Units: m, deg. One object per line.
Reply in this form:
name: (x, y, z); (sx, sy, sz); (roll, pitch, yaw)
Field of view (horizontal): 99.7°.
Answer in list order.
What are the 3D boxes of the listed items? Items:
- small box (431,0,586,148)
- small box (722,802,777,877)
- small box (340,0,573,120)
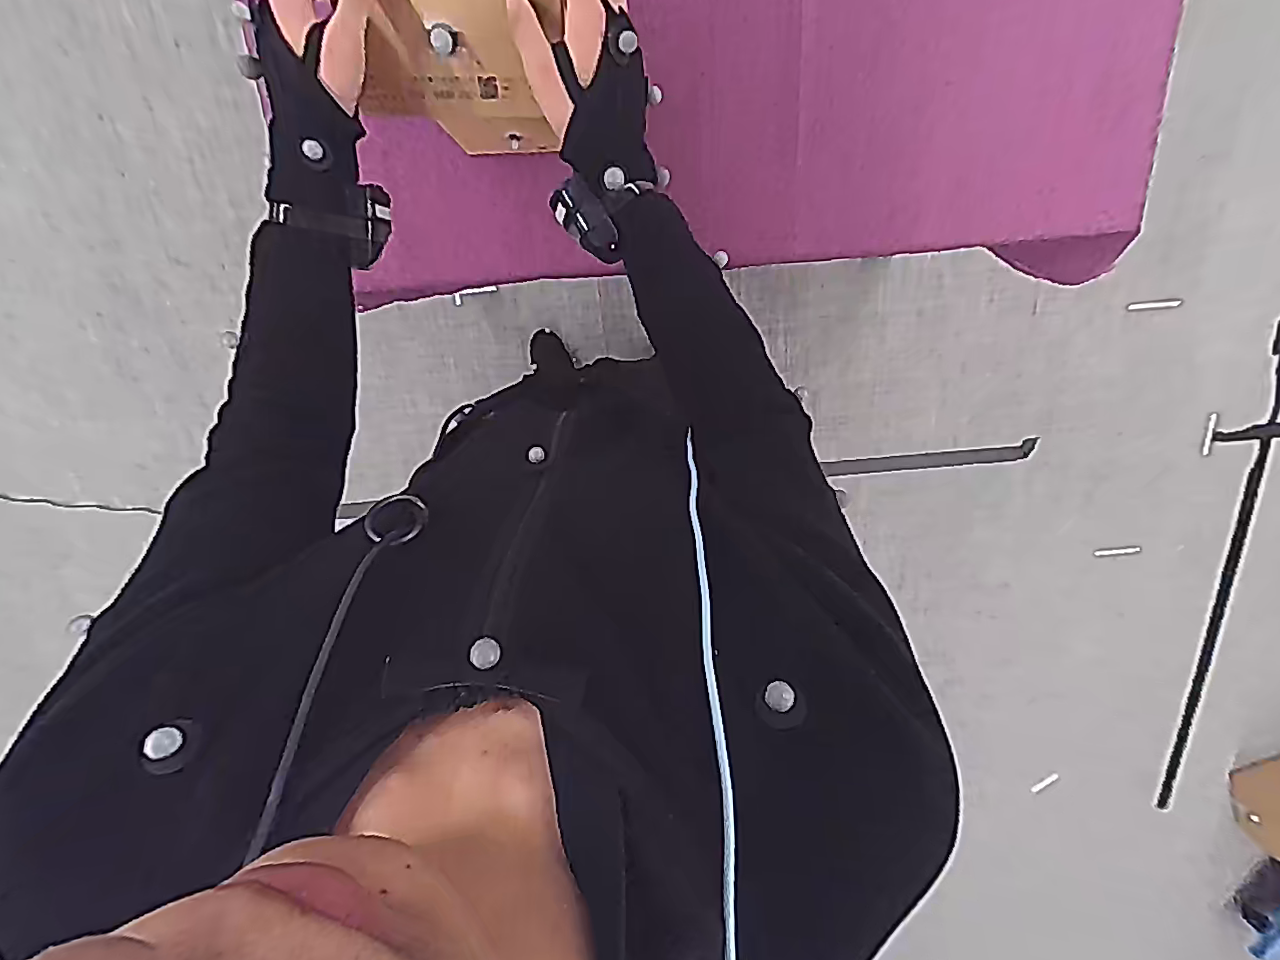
small box: (-0.152, -0.505, 0.634); (0.168, 0.176, 0.179); (-3, 109, -3)
small box: (0.413, 1.372, 2.070); (0.179, 0.176, 0.168); (-7, 108, -2)
small box: (-0.144, -0.413, 0.439); (0.168, 0.179, 0.176); (-2, 135, -4)
